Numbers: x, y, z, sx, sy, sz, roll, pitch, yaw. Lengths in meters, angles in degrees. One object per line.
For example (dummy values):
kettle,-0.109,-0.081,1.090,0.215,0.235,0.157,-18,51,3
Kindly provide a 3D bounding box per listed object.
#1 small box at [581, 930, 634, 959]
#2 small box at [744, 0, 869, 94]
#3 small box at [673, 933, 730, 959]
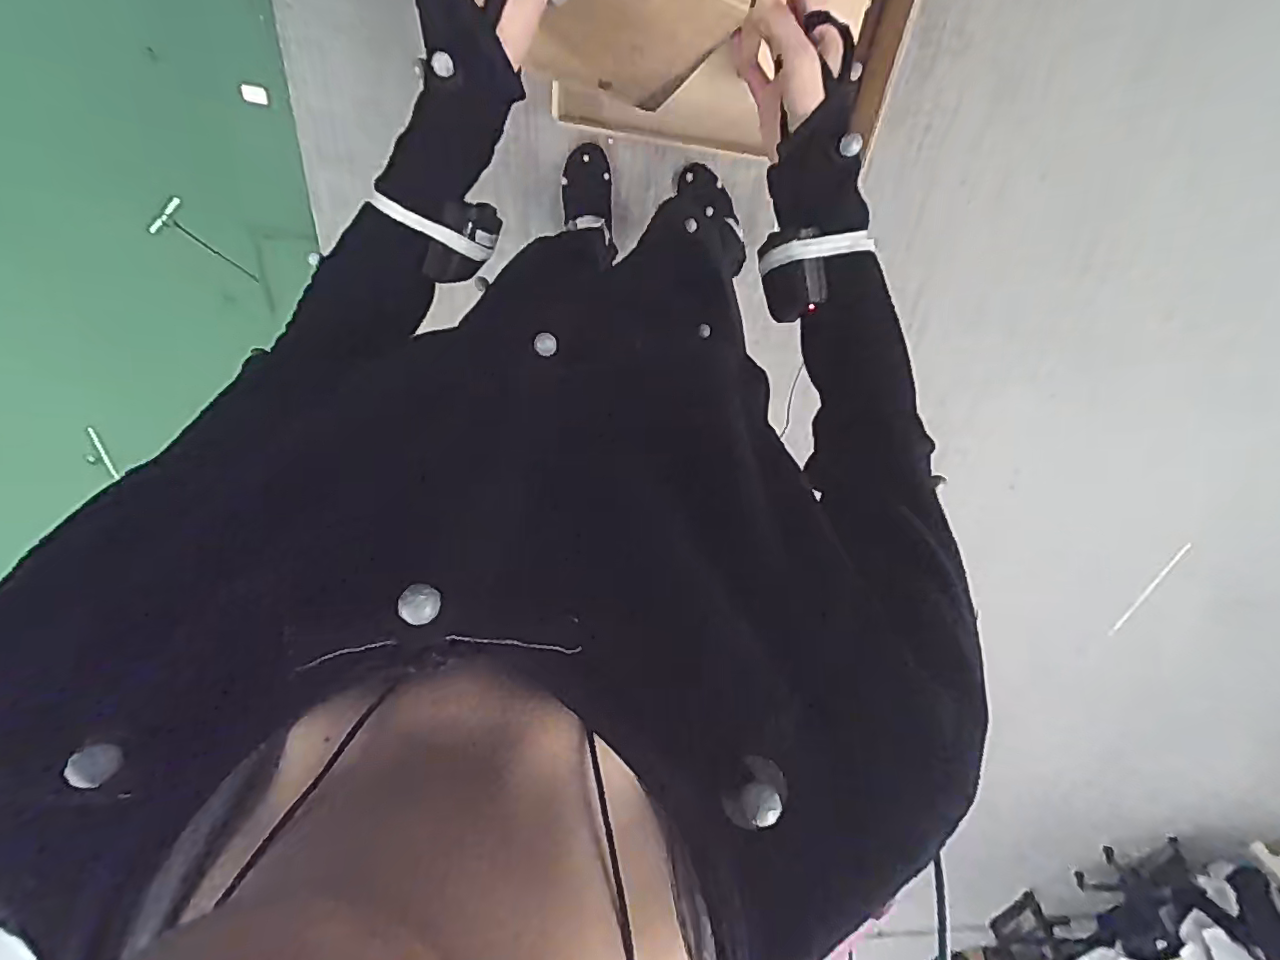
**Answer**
small box,-0.112,1.645,1.820,0.179,0.176,0.168,3,124,-3
small box,0.294,-0.819,0.976,0.168,0.176,0.179,7,125,-4
small box,0.212,1.681,1.850,0.179,0.176,0.168,7,124,-4
